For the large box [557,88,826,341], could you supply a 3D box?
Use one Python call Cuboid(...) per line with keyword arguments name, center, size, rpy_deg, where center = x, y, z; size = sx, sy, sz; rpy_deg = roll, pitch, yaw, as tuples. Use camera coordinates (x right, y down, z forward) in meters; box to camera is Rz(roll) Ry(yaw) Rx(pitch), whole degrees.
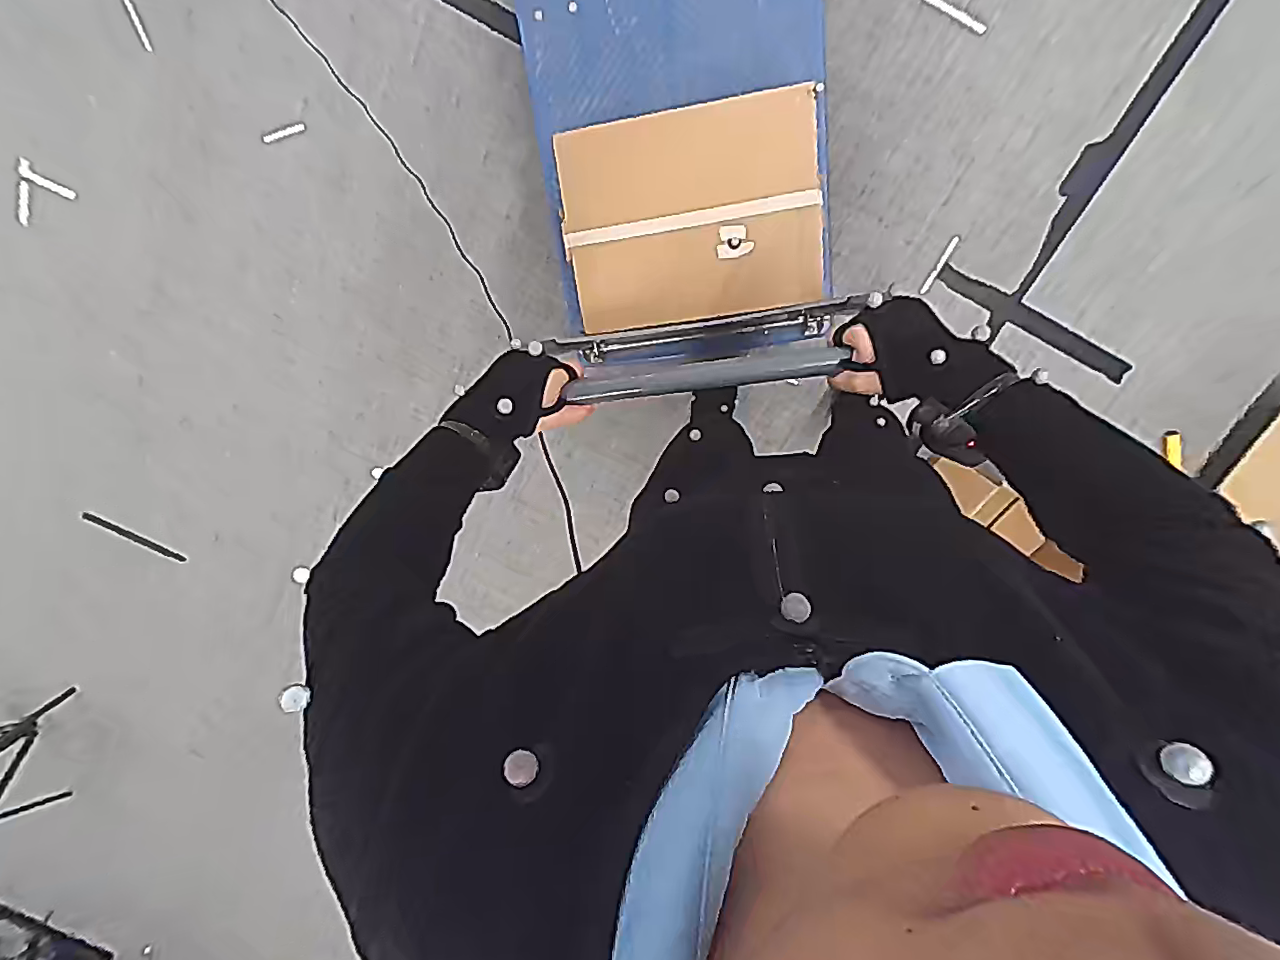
Cuboid(name="large box", center=(0.100, -0.452, 1.007), size=(0.408, 0.320, 0.320), rpy_deg=(-6, 107, 8))
